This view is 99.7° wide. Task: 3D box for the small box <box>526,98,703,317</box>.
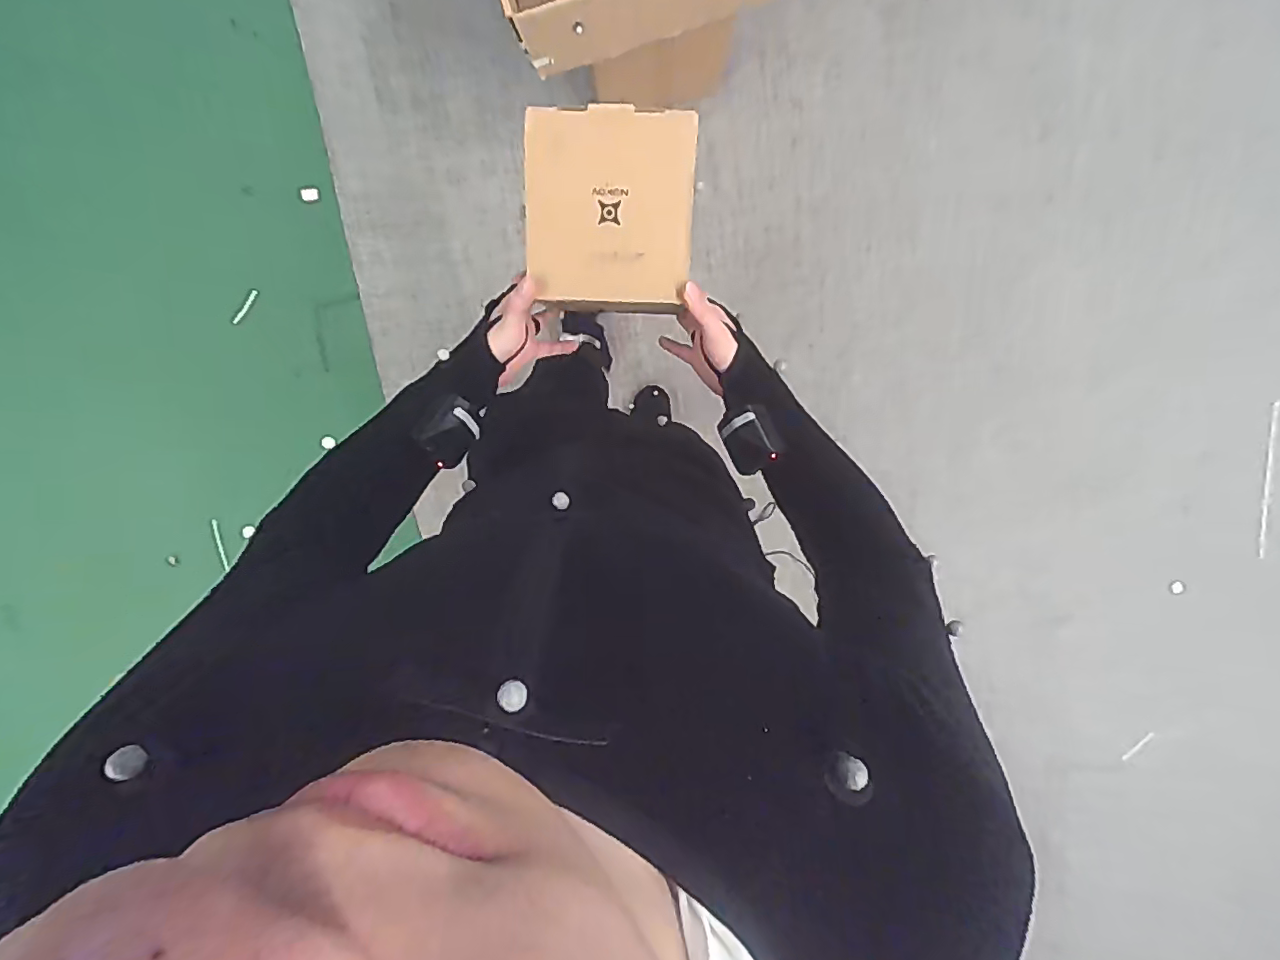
[{"bbox_3d":[-0.026,-0.280,0.593,0.168,0.176,0.179,3,103,1],"label":"small box"}]
